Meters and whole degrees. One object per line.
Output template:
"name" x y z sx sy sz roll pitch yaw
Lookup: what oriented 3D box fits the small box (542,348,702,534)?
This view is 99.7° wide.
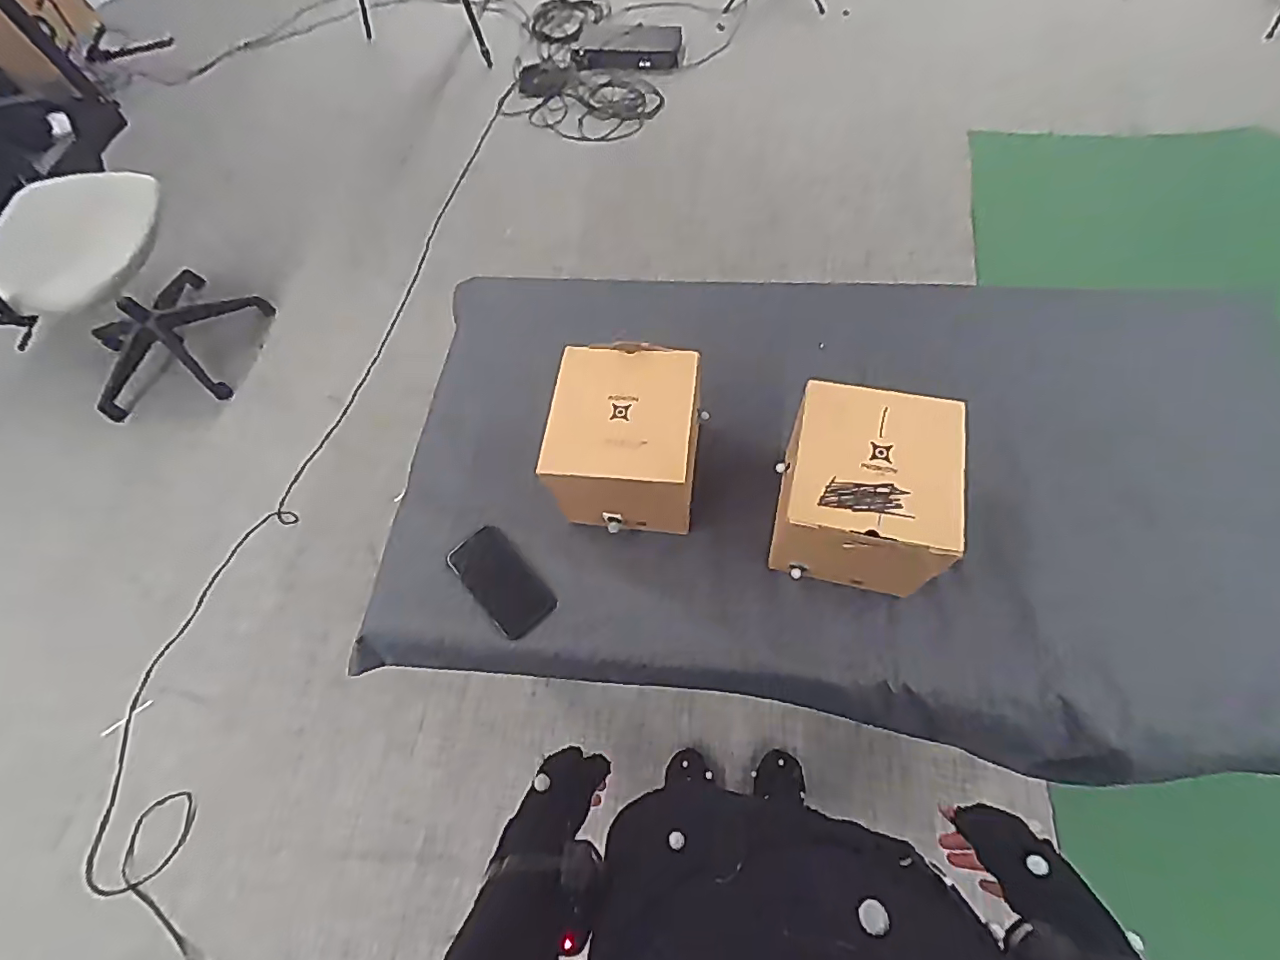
"small box" -0.010 -0.045 0.688 0.168 0.176 0.179 3 66 9

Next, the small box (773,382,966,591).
"small box" 0.254 0.015 0.628 0.168 0.176 0.179 11 65 12
